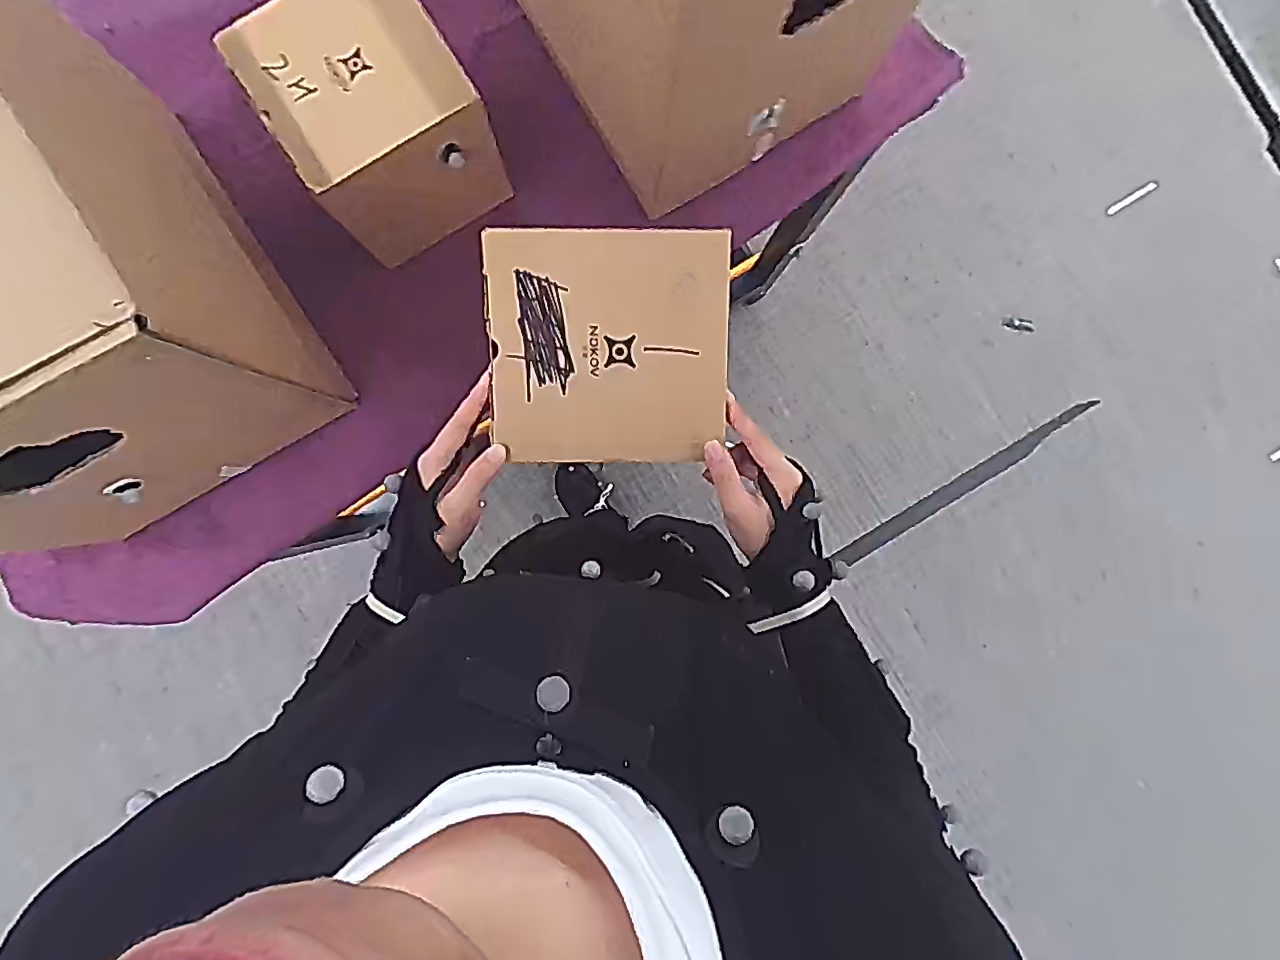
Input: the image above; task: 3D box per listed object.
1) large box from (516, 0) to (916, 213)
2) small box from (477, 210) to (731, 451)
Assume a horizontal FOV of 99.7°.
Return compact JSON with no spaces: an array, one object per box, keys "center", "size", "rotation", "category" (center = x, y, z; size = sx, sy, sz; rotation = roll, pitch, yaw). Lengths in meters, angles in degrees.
[{"center":[0.045,-0.557,0.498],"size":[0.320,0.320,0.408],"rotation":[-33,90,-3],"category":"large box"},{"center":[-0.027,-0.114,0.459],"size":[0.179,0.176,0.168],"rotation":[0,100,-2],"category":"small box"}]
